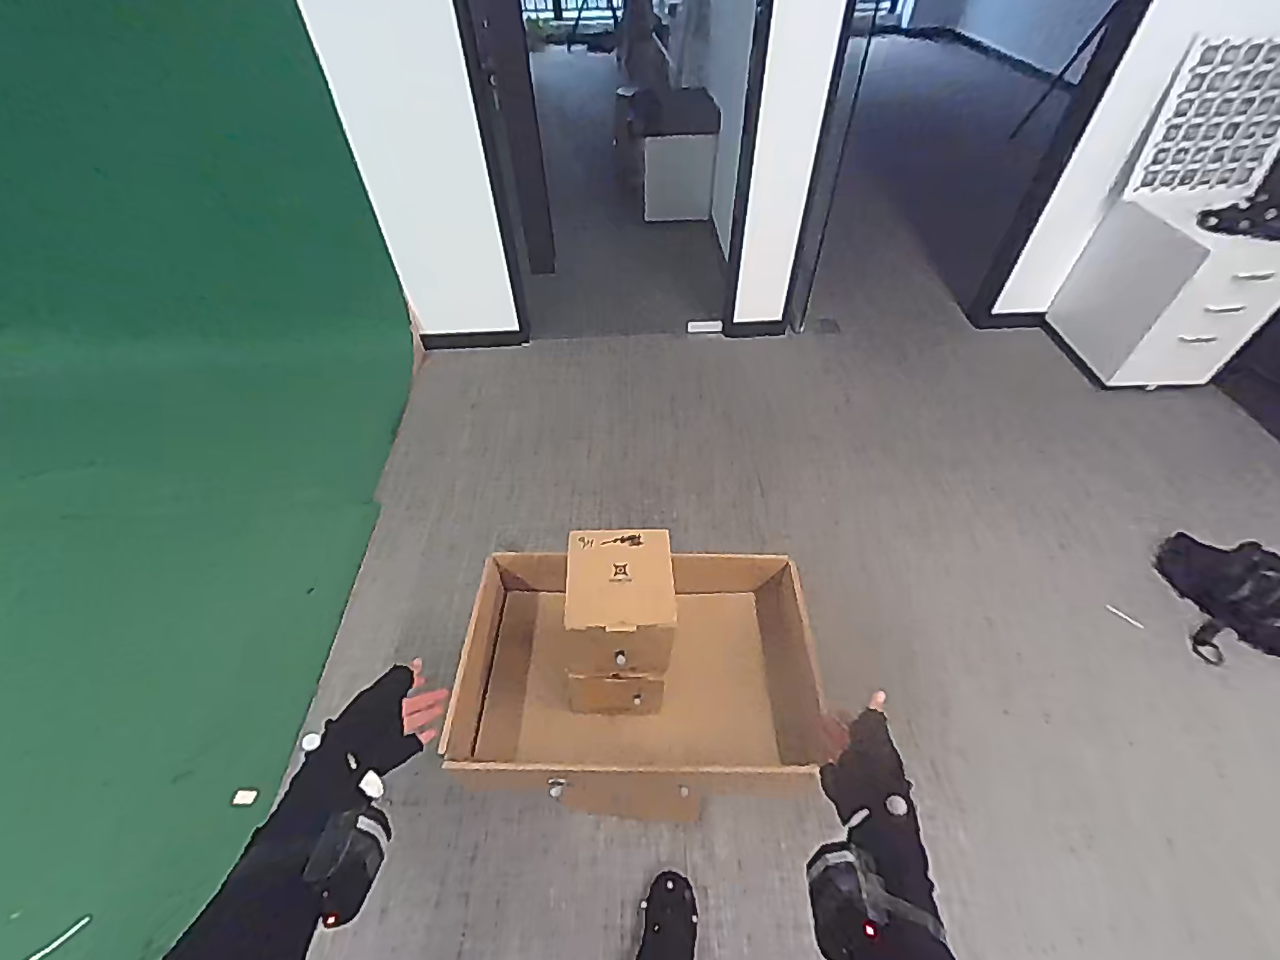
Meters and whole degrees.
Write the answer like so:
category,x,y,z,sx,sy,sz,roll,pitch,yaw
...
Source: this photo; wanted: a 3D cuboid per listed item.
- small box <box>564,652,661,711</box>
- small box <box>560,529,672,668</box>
category,x,y,z,sx,sy,sz,roll,pitch,yaw
small box,-0.046,0.315,1.007,0.168,0.176,0.179,2,46,-2
small box,-0.038,0.199,0.891,0.168,0.176,0.179,0,49,-3
